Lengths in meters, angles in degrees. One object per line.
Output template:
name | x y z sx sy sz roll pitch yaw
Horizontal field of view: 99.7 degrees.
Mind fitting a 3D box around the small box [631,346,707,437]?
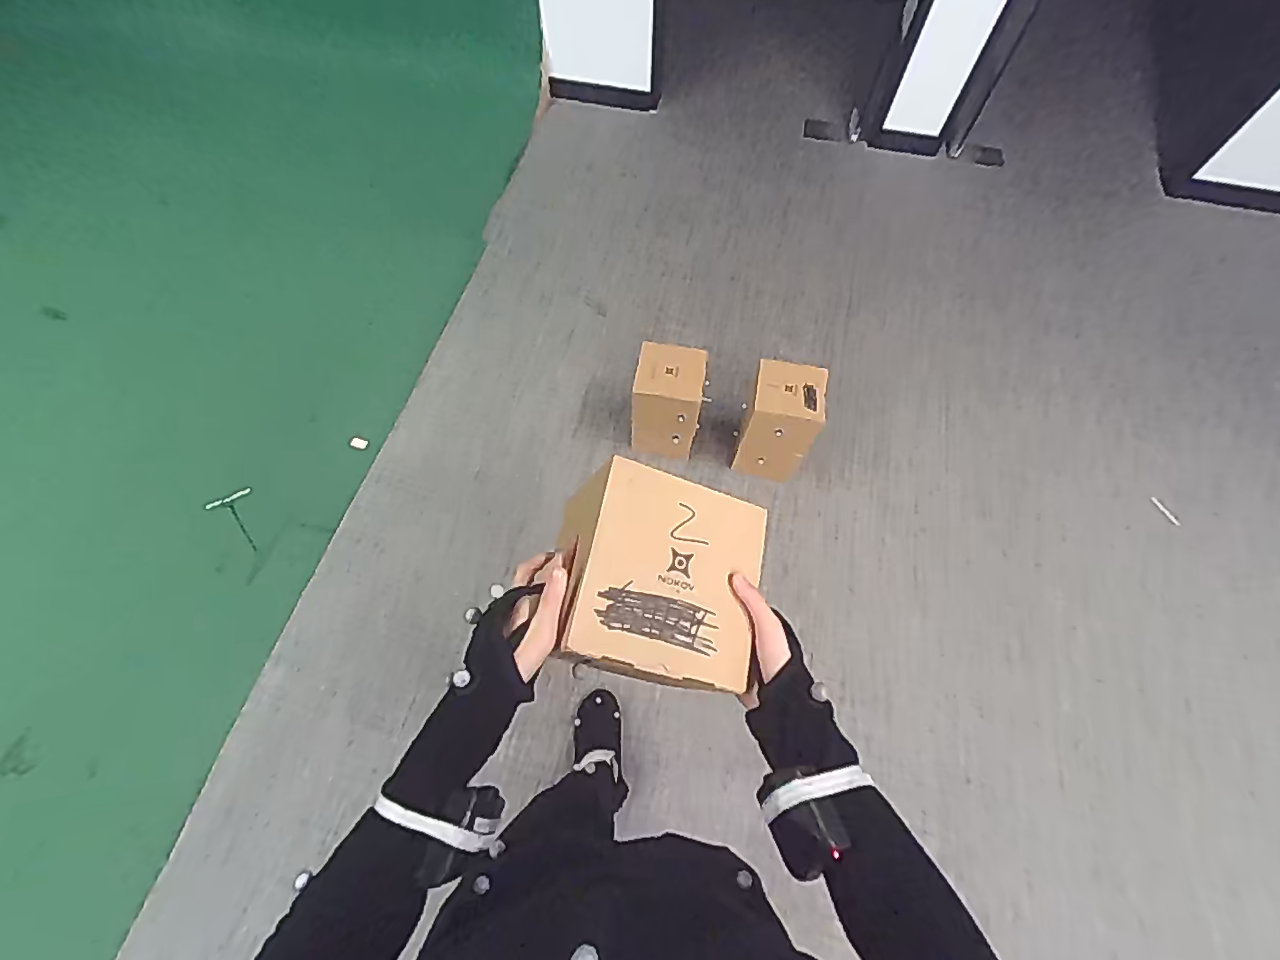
small box | 0.077 -0.233 1.456 0.179 0.176 0.168 9 64 5

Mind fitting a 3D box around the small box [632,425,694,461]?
small box | 0.075 -0.171 1.608 0.179 0.176 0.168 9 64 4

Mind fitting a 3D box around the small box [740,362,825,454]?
small box | 0.375 -0.184 1.434 0.179 0.176 0.168 10 64 5
